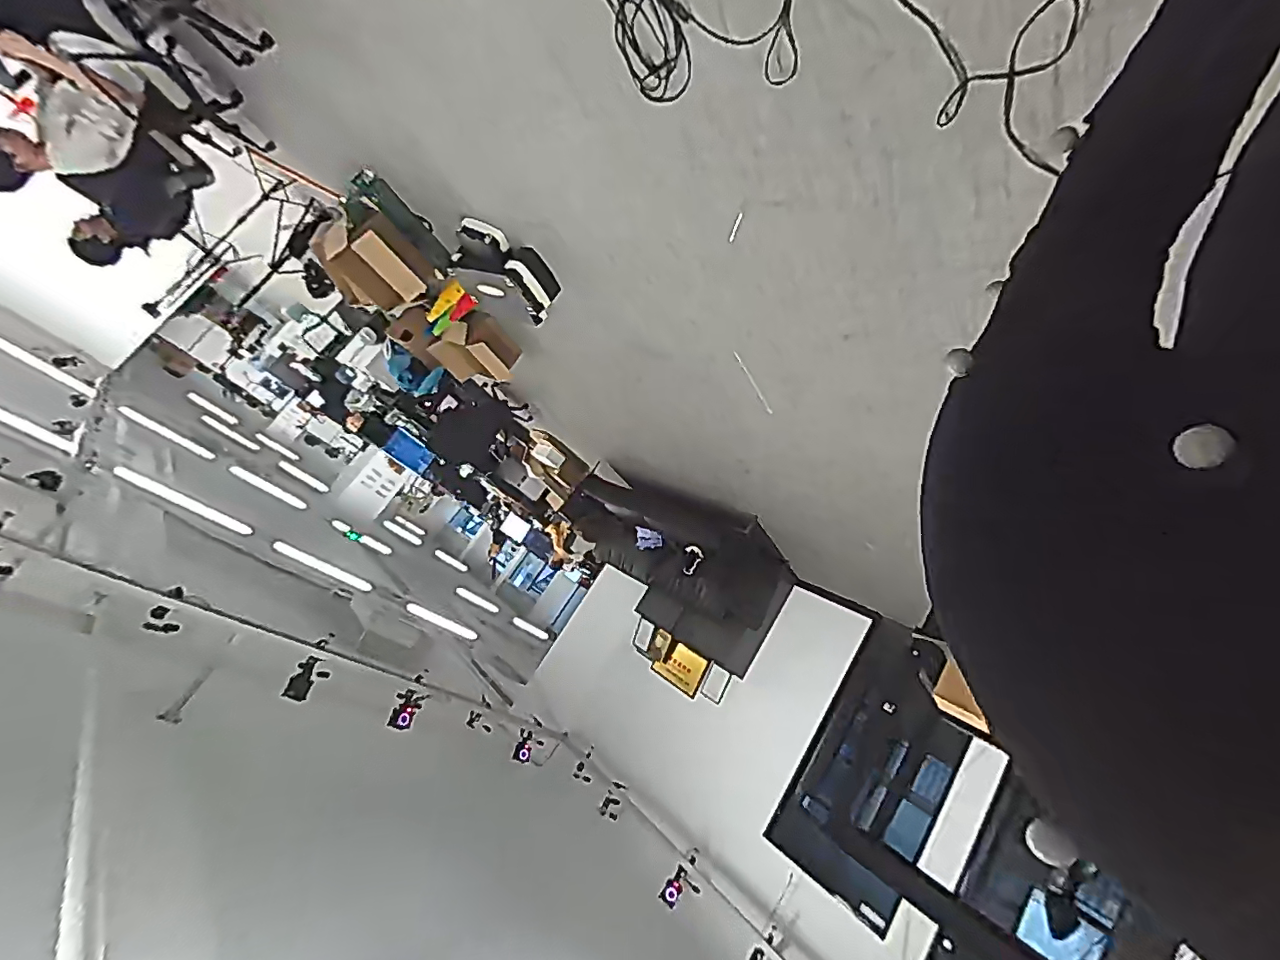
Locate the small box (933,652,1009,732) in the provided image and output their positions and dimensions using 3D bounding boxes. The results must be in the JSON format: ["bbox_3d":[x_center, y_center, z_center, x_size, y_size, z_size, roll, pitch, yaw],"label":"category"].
[{"bbox_3d":[1.122,0.711,1.823,0.168,0.176,0.179,20,161,45],"label":"small box"}]
